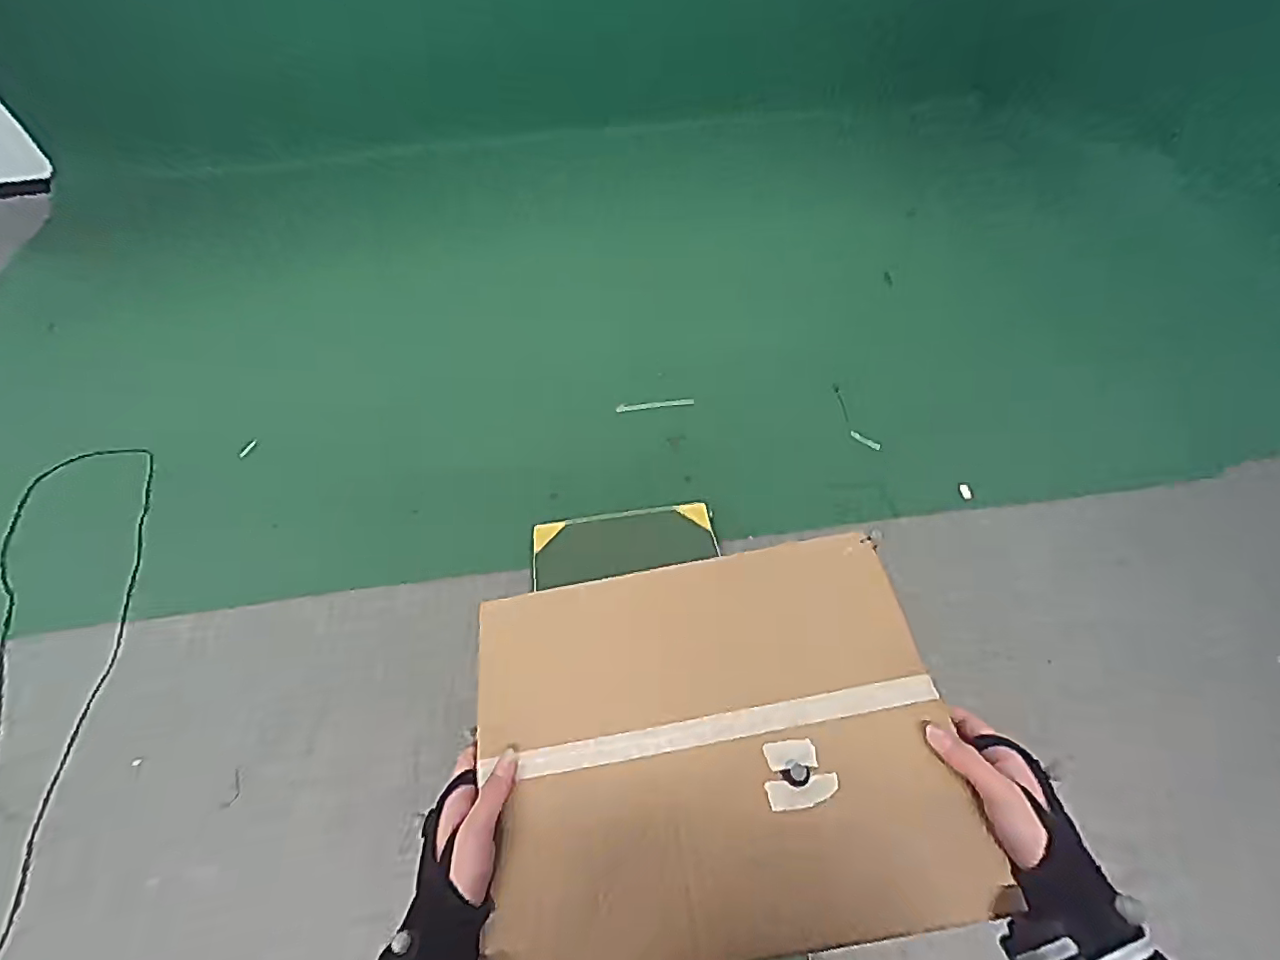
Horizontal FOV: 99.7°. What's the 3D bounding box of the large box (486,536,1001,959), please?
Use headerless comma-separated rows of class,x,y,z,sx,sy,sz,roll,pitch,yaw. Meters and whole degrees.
large box,0.072,0.303,0.612,0.408,0.320,0.320,-11,58,0
